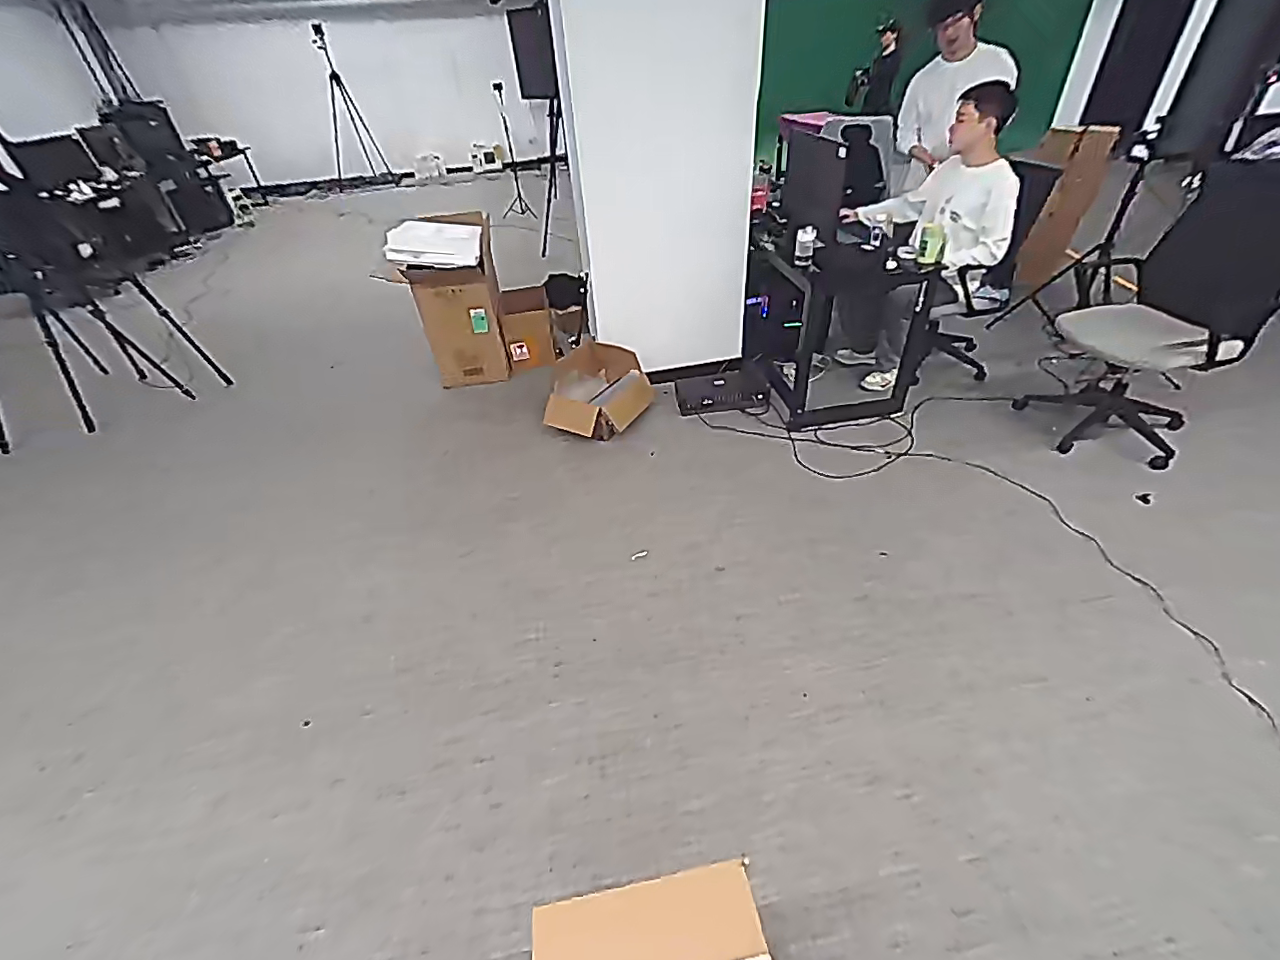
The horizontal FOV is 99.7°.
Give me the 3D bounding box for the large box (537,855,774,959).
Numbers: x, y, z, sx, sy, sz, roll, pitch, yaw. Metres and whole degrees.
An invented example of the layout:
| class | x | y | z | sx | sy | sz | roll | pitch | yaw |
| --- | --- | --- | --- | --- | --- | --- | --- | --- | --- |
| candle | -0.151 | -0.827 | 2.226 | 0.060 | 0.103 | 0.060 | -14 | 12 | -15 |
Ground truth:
| class | x | y | z | sx | sy | sz | roll | pitch | yaw |
| --- | --- | --- | --- | --- | --- | --- | --- | --- | --- |
| large box | 0.042 | 0.963 | 0.989 | 0.408 | 0.320 | 0.320 | -9 | 39 | -7 |
